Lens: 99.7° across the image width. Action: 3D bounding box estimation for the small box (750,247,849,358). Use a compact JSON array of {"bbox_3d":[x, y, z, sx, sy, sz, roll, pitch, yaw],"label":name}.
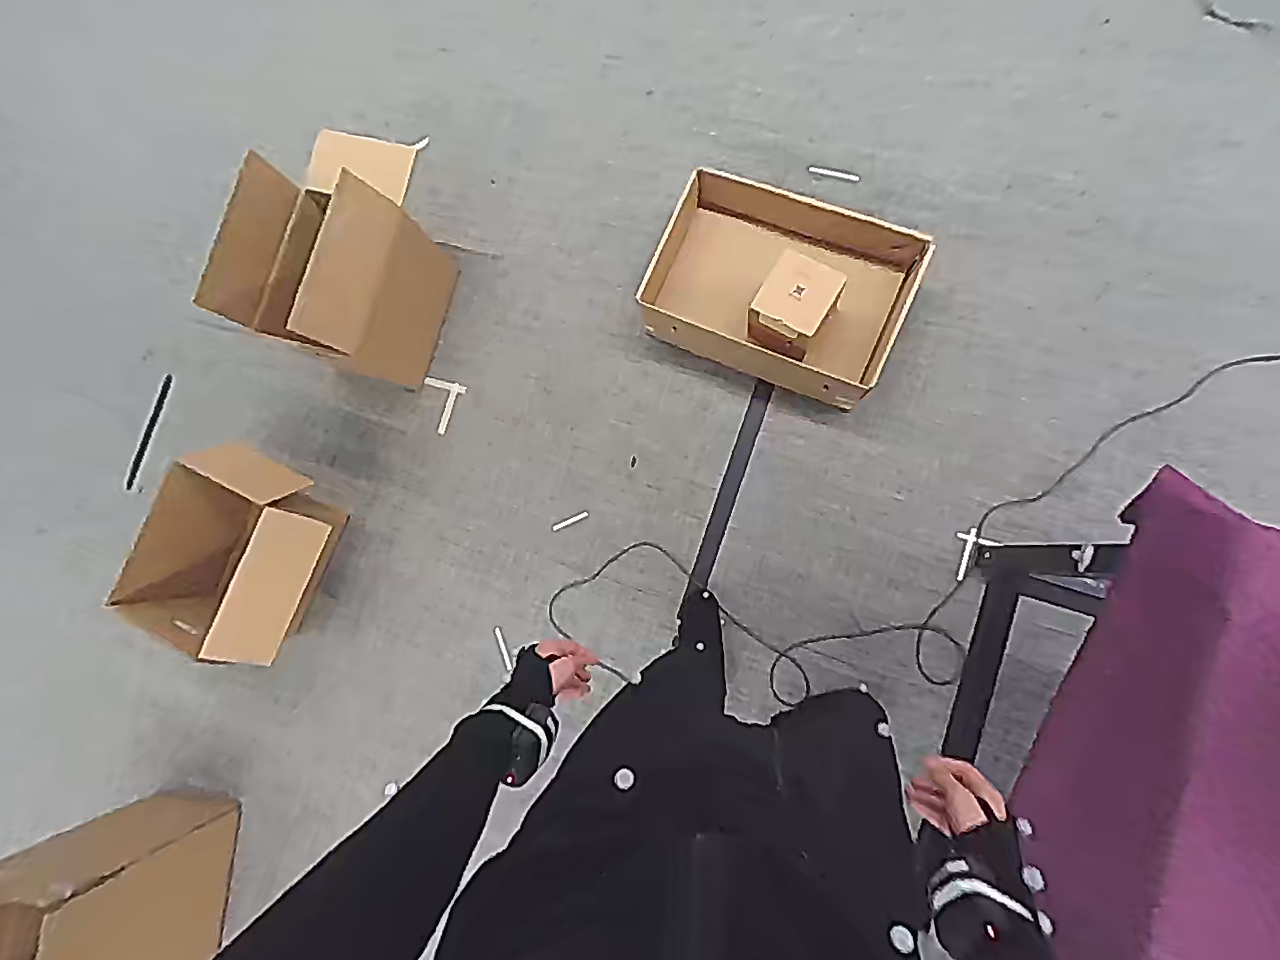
[{"bbox_3d":[0.388,-0.429,1.340,0.168,0.176,0.179,32,89,12],"label":"small box"}]
